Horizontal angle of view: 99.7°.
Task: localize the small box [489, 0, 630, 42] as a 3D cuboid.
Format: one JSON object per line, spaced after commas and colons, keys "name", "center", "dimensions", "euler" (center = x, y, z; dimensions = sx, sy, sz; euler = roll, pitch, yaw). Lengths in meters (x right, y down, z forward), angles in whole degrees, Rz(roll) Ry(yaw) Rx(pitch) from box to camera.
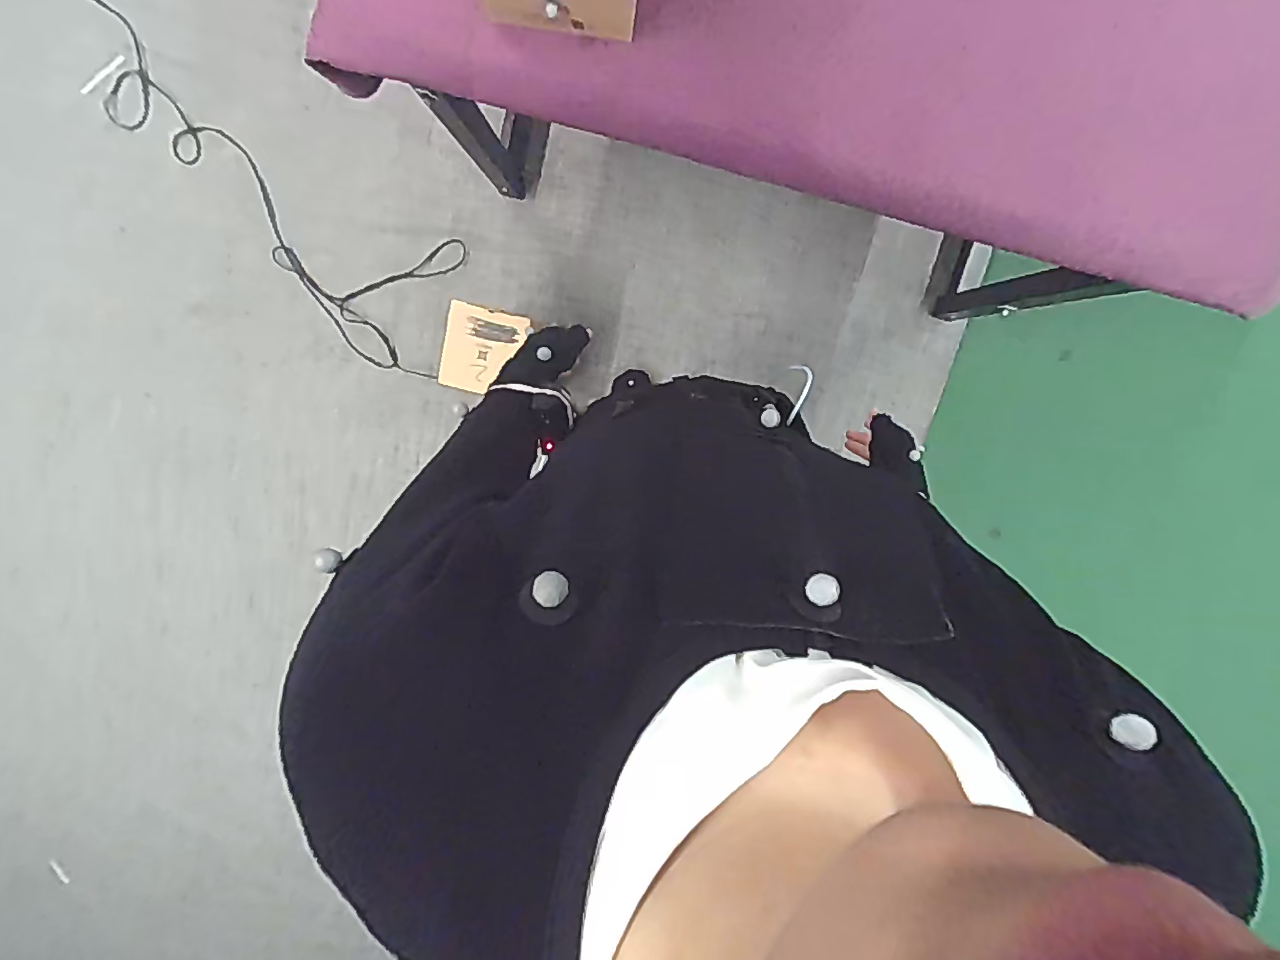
{"name": "small box", "center": [-0.083, -0.595, 0.538], "dimensions": [0.168, 0.176, 0.179], "euler": [9, 100, -2]}
